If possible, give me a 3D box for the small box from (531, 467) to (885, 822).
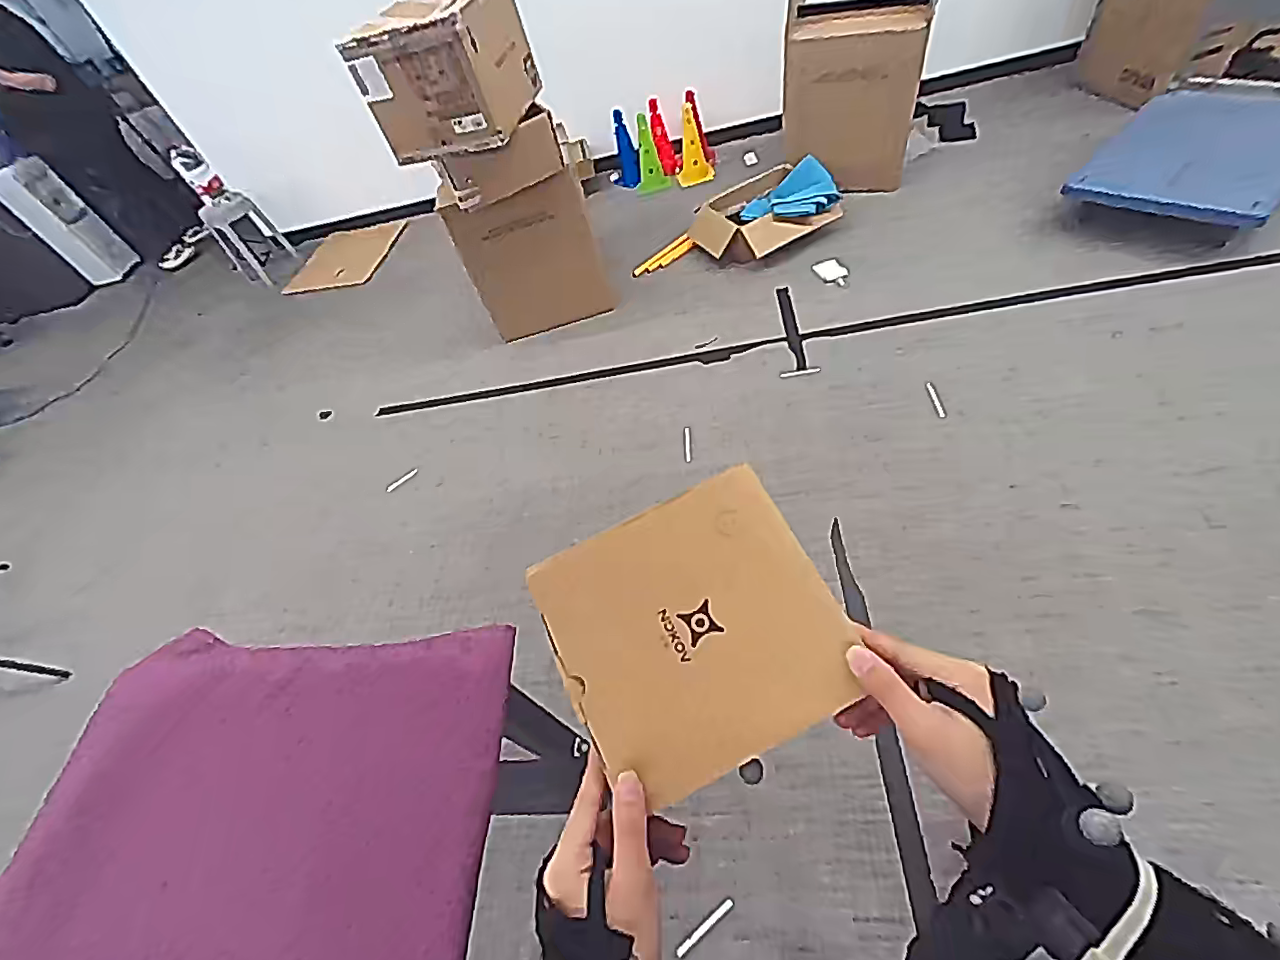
[{"bbox_3d":[0.044,0.121,0.417,0.179,0.176,0.168,-27,68,-4],"label":"small box"}]
